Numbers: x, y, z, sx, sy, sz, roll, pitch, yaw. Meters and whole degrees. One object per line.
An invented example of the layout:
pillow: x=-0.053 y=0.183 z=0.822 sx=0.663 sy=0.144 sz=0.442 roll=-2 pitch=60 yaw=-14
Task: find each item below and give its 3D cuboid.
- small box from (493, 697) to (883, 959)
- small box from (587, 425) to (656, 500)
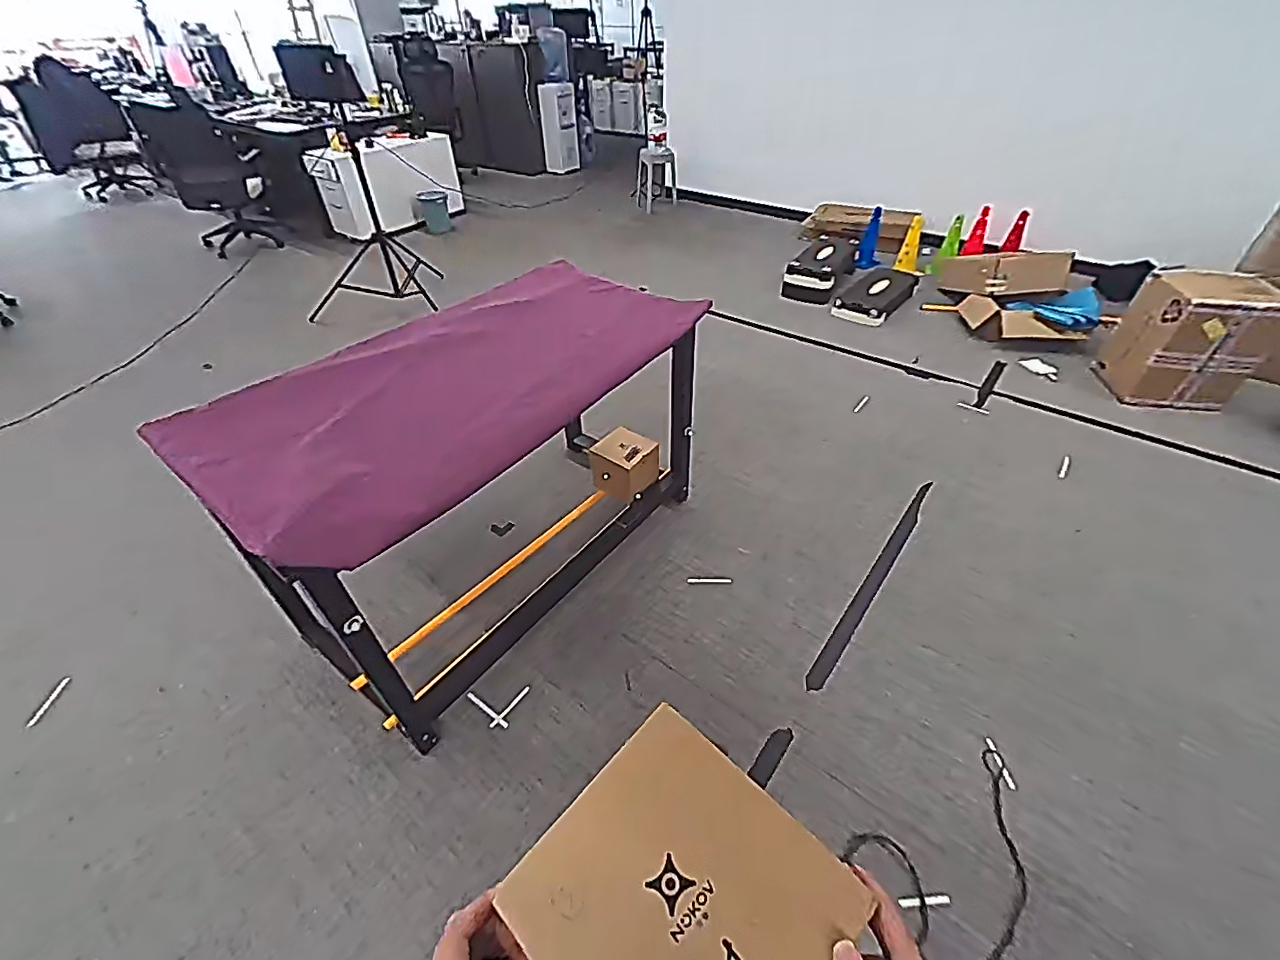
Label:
small box: x=0.031 y=0.299 z=0.381 sx=0.179 sy=0.176 sz=0.168 roll=34 pitch=60 yaw=31
small box: x=-0.057 y=-0.055 z=1.856 sx=0.179 sy=0.176 sz=0.168 roll=26 pitch=49 yaw=28
